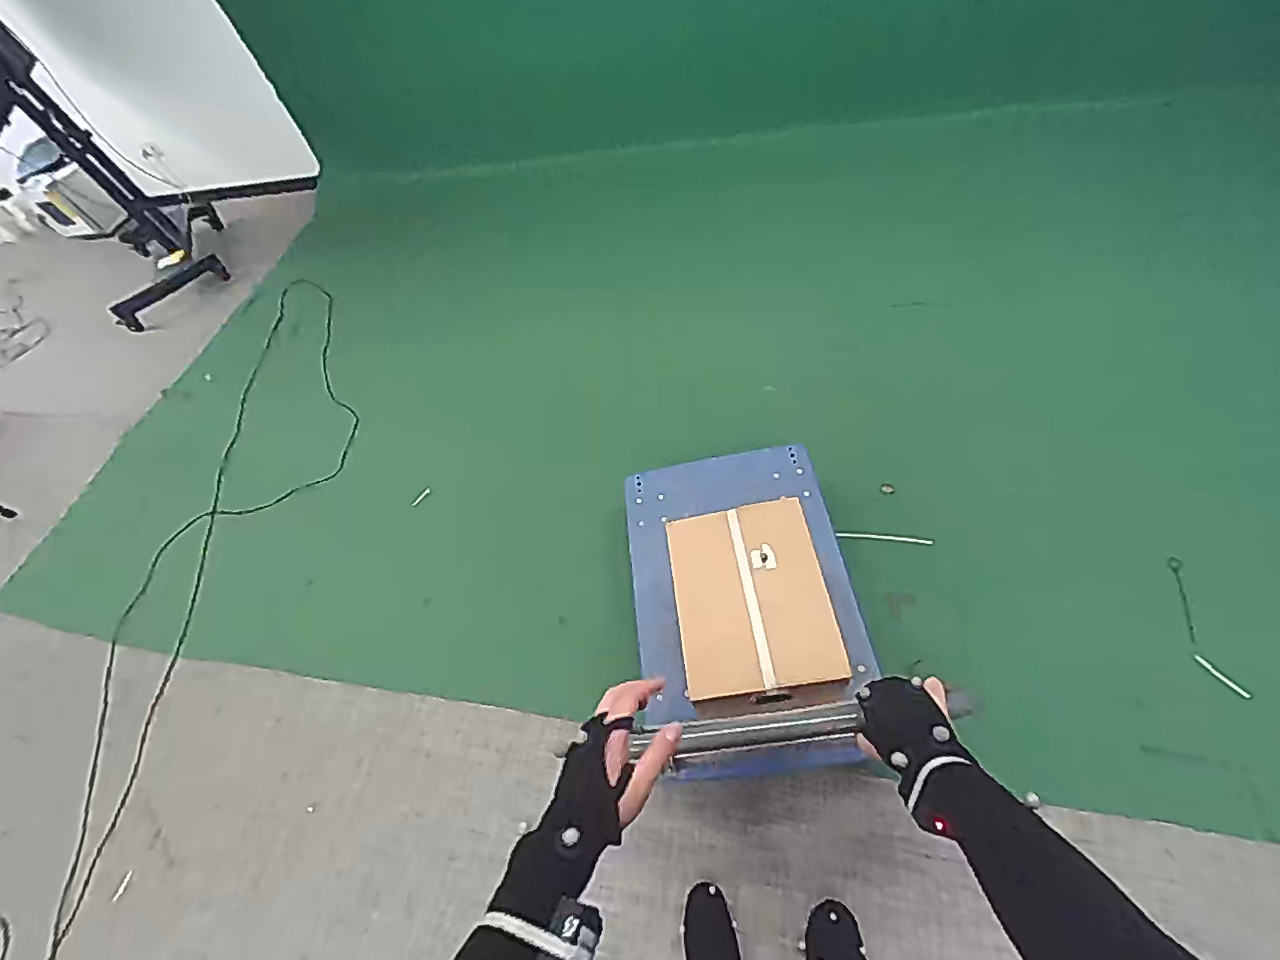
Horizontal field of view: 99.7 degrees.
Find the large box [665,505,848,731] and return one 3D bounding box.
[{"bbox_3d":[0.261,0.330,1.270,0.320,0.320,0.408,-11,54,7],"label":"large box"}]
